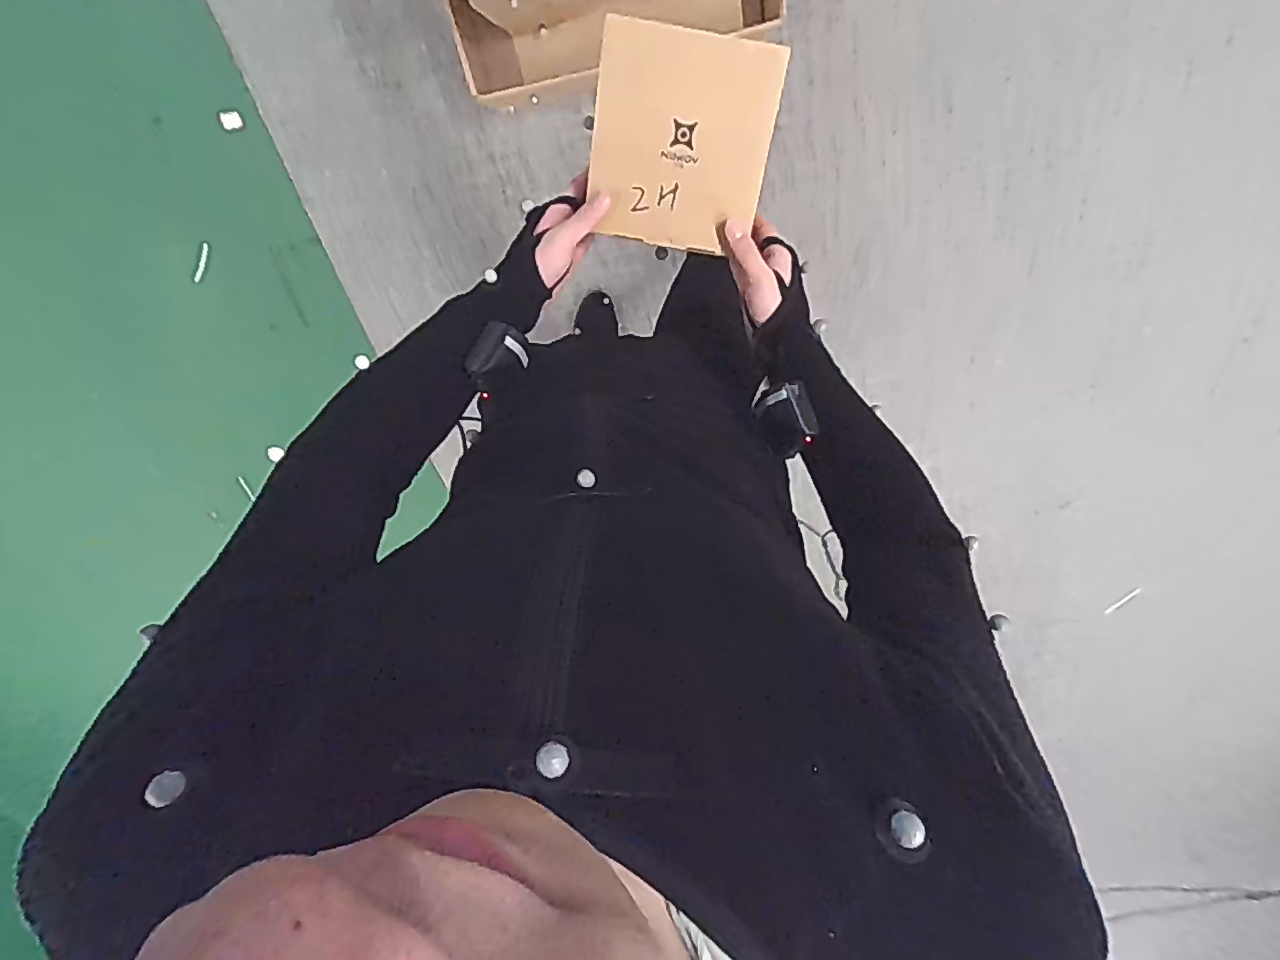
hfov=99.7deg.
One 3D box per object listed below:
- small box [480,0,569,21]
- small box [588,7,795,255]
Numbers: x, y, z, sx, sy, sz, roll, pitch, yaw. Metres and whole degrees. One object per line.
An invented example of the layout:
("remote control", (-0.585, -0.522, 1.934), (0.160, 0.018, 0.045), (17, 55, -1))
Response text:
("small box", (-0.205, -0.873, 0.855), (0.168, 0.176, 0.179), (-10, 120, 10))
("small box", (0.044, -0.347, 0.574), (0.168, 0.176, 0.179), (9, 114, -2))
